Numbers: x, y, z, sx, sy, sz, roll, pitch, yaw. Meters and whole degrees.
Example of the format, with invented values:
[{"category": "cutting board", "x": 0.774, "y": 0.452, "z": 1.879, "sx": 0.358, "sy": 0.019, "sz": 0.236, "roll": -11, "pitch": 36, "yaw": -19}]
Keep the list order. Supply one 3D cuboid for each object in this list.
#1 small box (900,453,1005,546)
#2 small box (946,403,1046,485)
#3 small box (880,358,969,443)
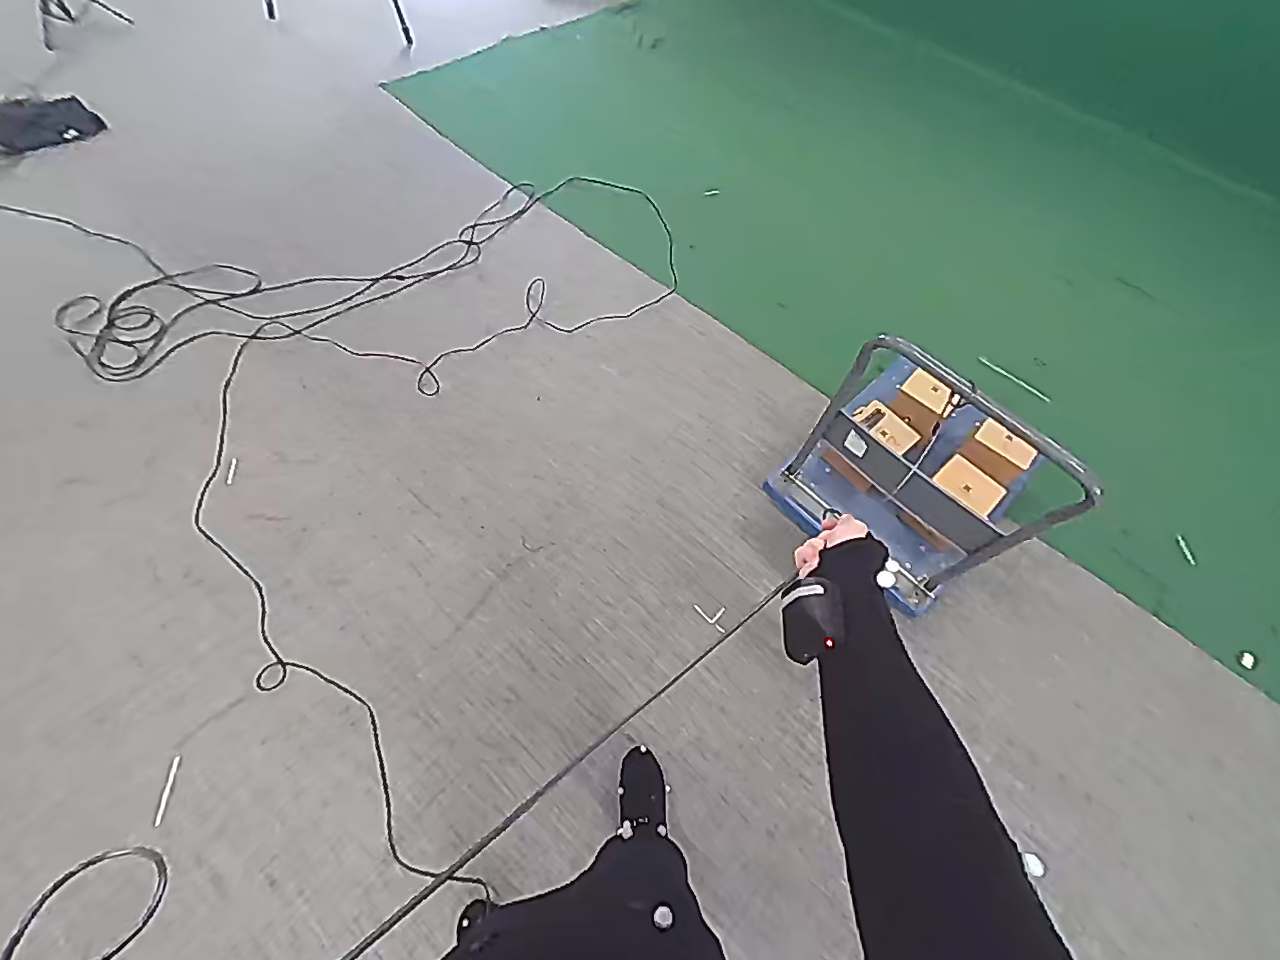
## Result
[{"category": "small box", "x": 0.897, "y": 0.059, "z": 1.568, "sx": 0.179, "sy": 0.176, "sz": 0.168, "roll": -38, "pitch": 70, "yaw": -22}, {"category": "small box", "x": 1.093, "y": -0.096, "z": 1.672, "sx": 0.168, "sy": 0.176, "sz": 0.179, "roll": 40, "pitch": 66, "yaw": 17}, {"category": "small box", "x": 0.907, "y": -0.250, "z": 1.744, "sx": 0.168, "sy": 0.176, "sz": 0.179, "roll": 40, "pitch": 65, "yaw": 16}]
